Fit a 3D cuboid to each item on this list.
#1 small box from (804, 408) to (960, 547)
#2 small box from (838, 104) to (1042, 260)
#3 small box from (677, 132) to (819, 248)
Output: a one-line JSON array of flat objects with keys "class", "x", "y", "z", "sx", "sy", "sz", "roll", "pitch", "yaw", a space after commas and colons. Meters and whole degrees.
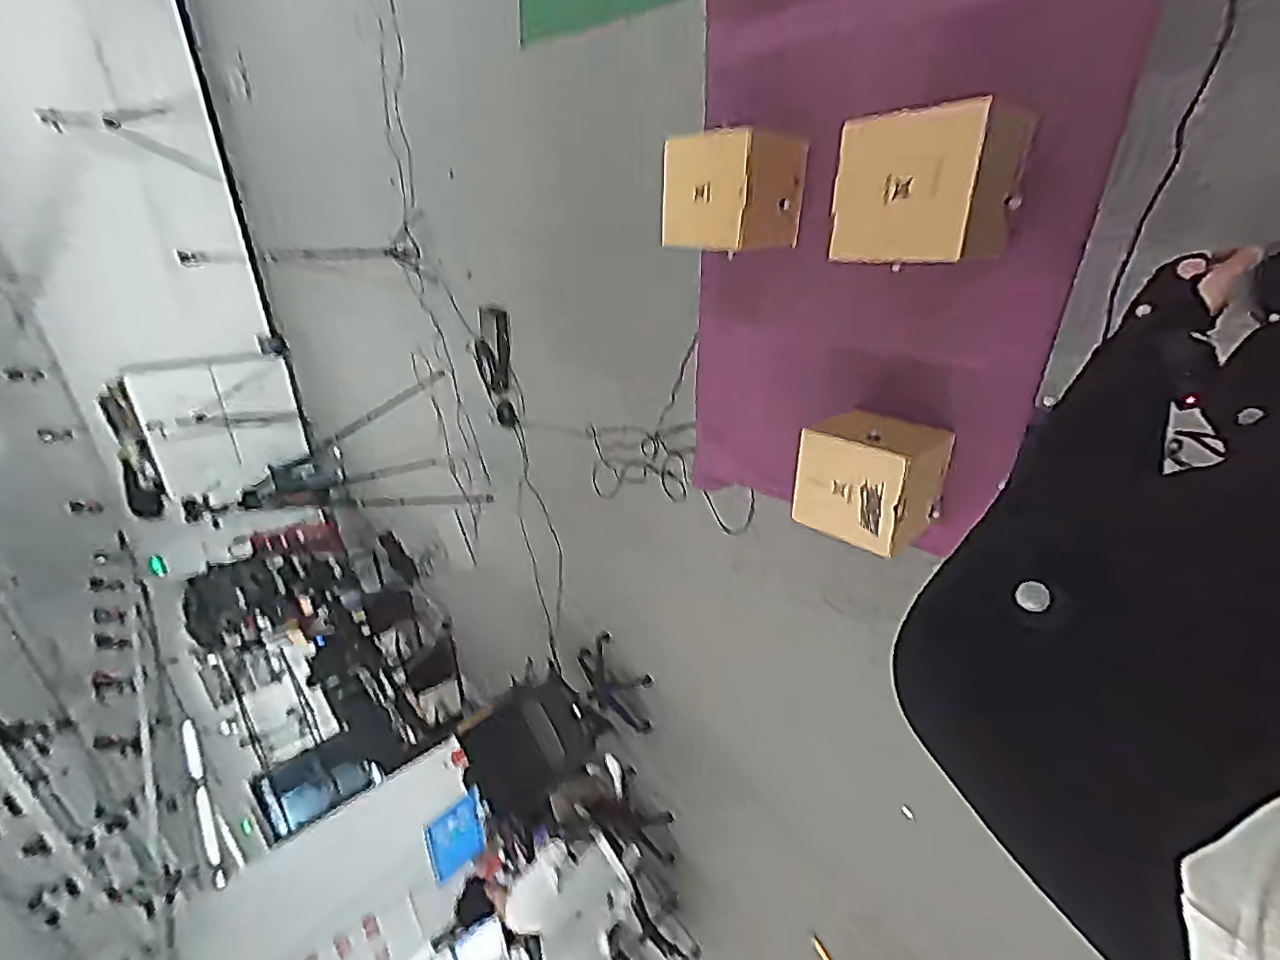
[{"class": "small box", "x": 0.406, "y": -0.015, "z": 0.913, "sx": 0.179, "sy": 0.176, "sz": 0.168, "roll": 25, "pitch": 125, "yaw": 45}, {"class": "small box", "x": 0.404, "y": -0.394, "z": 0.739, "sx": 0.179, "sy": 0.176, "sz": 0.168, "roll": 25, "pitch": 126, "yaw": 44}, {"class": "small box", "x": 0.188, "y": -0.504, "z": 0.959, "sx": 0.179, "sy": 0.176, "sz": 0.168, "roll": 25, "pitch": 124, "yaw": 41}]
